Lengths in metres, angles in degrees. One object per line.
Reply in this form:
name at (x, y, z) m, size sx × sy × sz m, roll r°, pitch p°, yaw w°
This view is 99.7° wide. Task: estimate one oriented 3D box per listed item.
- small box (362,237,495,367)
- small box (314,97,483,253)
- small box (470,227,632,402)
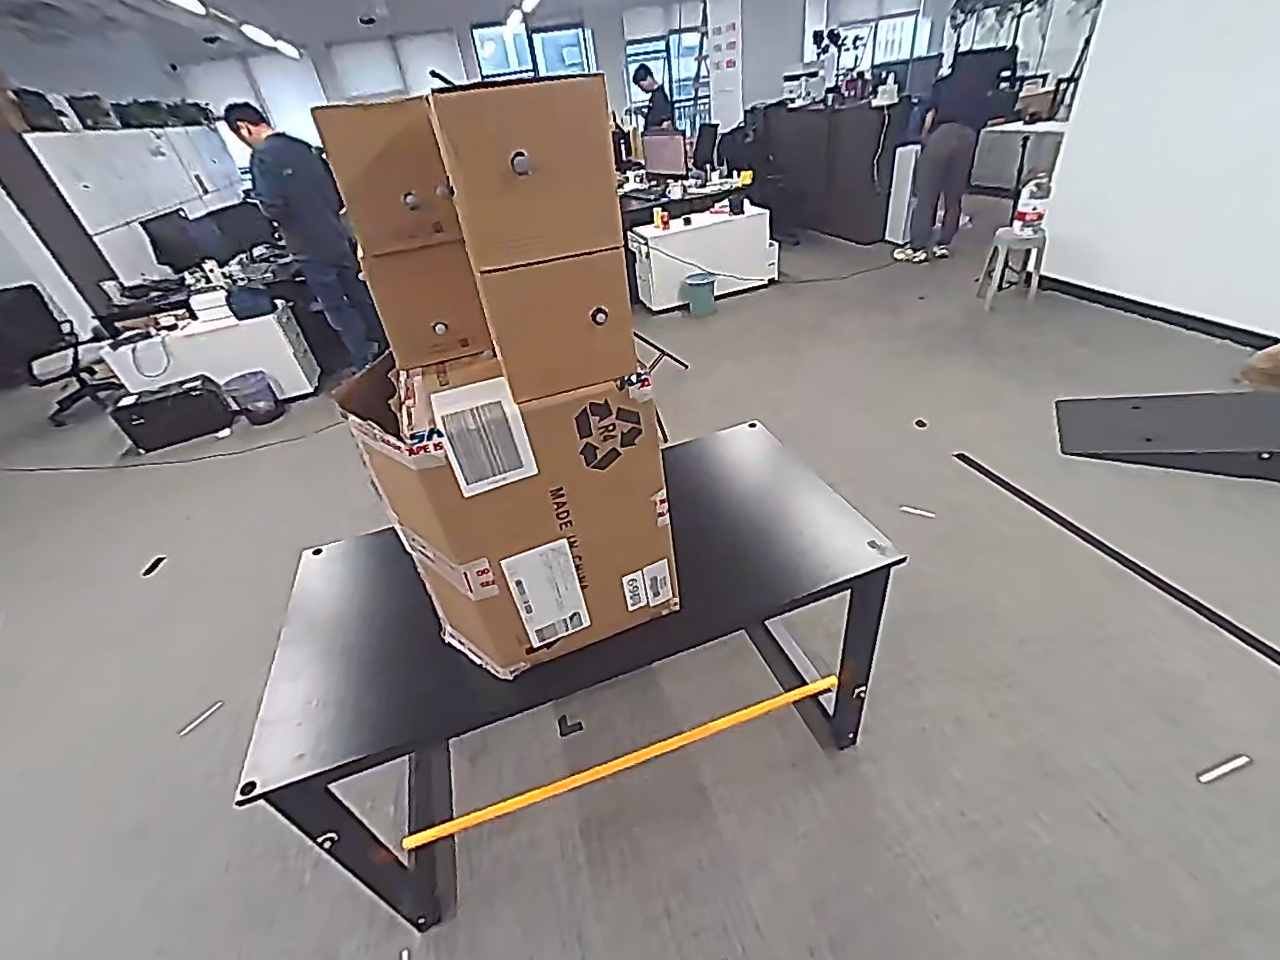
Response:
small box at (-0.331, -0.299, 0.871) m, size 0.168 × 0.176 × 0.179 m, roll -19°, pitch 36°, yaw -16°
small box at (-0.340, -0.432, 0.774) m, size 0.168 × 0.176 × 0.179 m, roll -20°, pitch 36°, yaw -17°
small box at (-0.117, -0.229, 0.740) m, size 0.179 × 0.176 × 0.168 m, roll -18°, pitch 36°, yaw -12°
